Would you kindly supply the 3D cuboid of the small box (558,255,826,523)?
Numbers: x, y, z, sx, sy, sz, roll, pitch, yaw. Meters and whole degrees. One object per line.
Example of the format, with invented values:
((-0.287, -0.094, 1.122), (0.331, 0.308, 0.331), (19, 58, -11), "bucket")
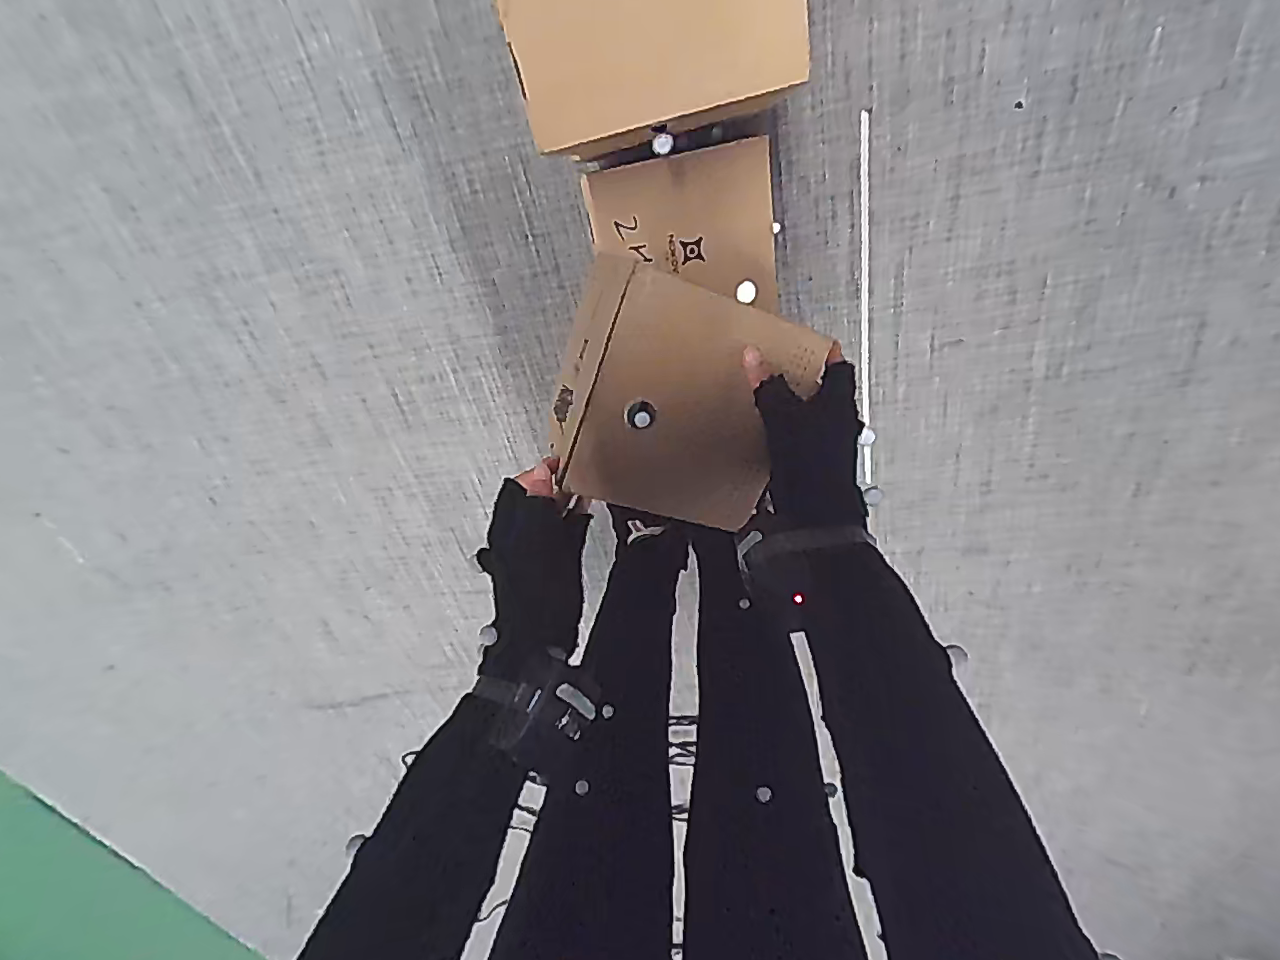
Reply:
((0.032, -0.082, 0.483), (0.176, 0.168, 0.179), (15, 110, -17), "small box")

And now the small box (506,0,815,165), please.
((0.014, -0.332, 0.373), (0.179, 0.176, 0.168), (-8, 120, 12), "small box")
